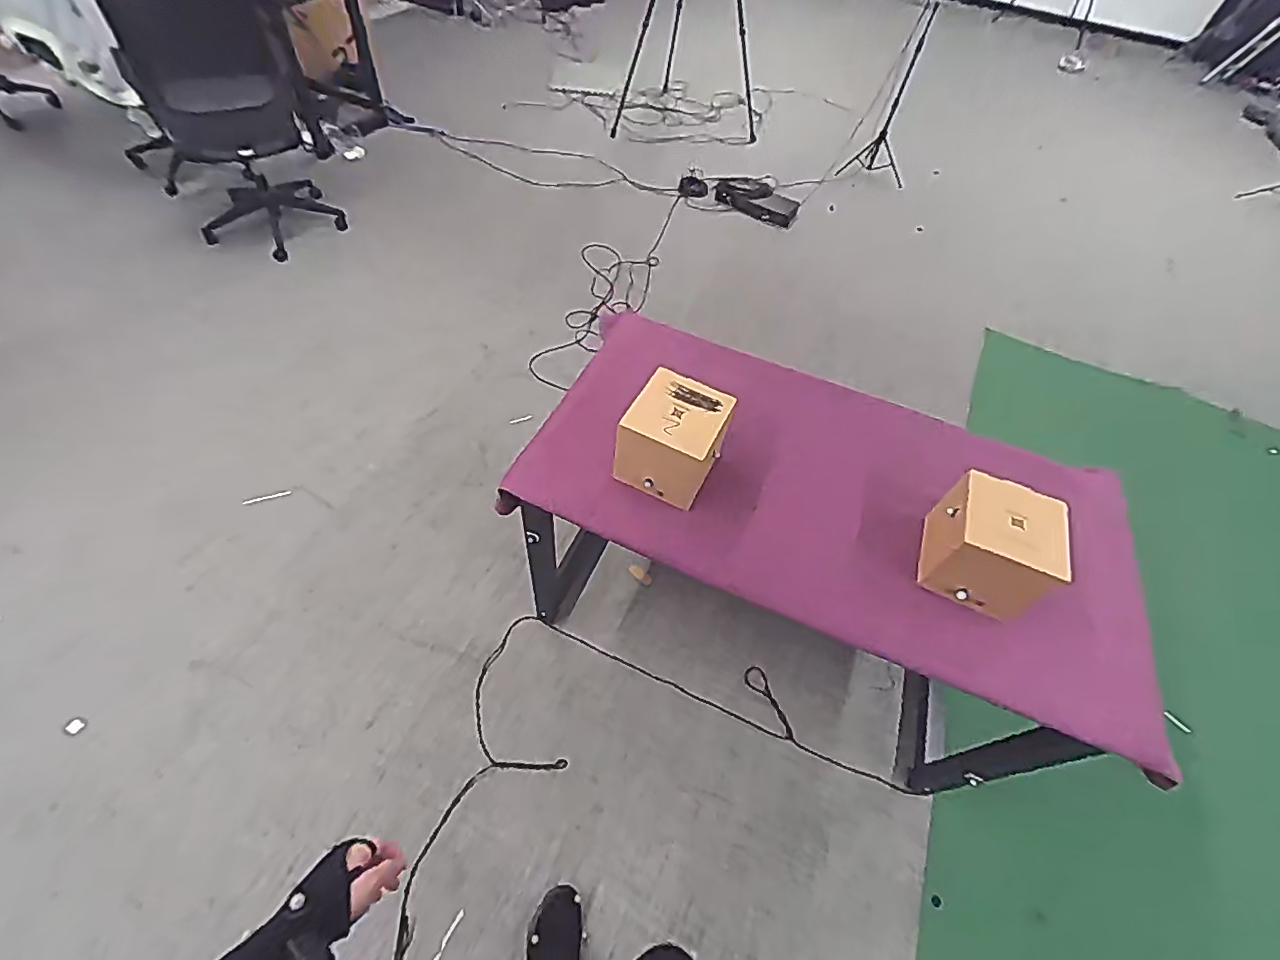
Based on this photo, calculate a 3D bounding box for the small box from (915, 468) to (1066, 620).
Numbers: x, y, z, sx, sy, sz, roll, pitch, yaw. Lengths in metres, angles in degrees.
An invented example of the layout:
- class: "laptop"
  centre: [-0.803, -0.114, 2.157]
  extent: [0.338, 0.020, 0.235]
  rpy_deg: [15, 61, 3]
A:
- class: "small box"
  centre: [0.620, 0.117, 0.970]
  extent: [0.168, 0.176, 0.179]
  rpy_deg: [23, 54, 12]
